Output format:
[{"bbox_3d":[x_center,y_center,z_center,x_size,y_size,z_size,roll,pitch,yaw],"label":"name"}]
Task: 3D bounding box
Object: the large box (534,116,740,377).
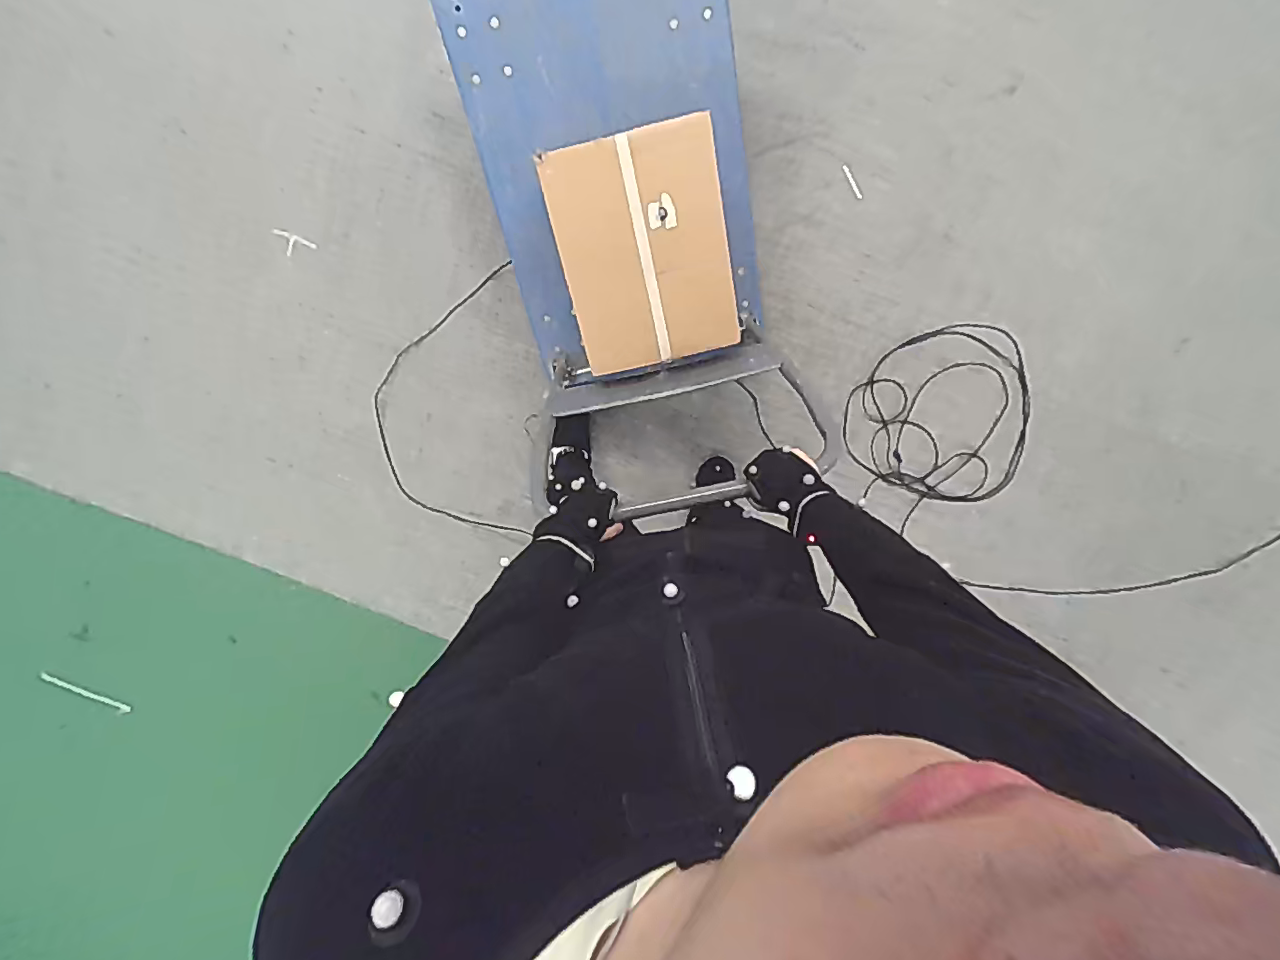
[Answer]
[{"bbox_3d":[0.006,-0.480,1.152,0.320,0.320,0.408,-13,115,4],"label":"large box"}]
